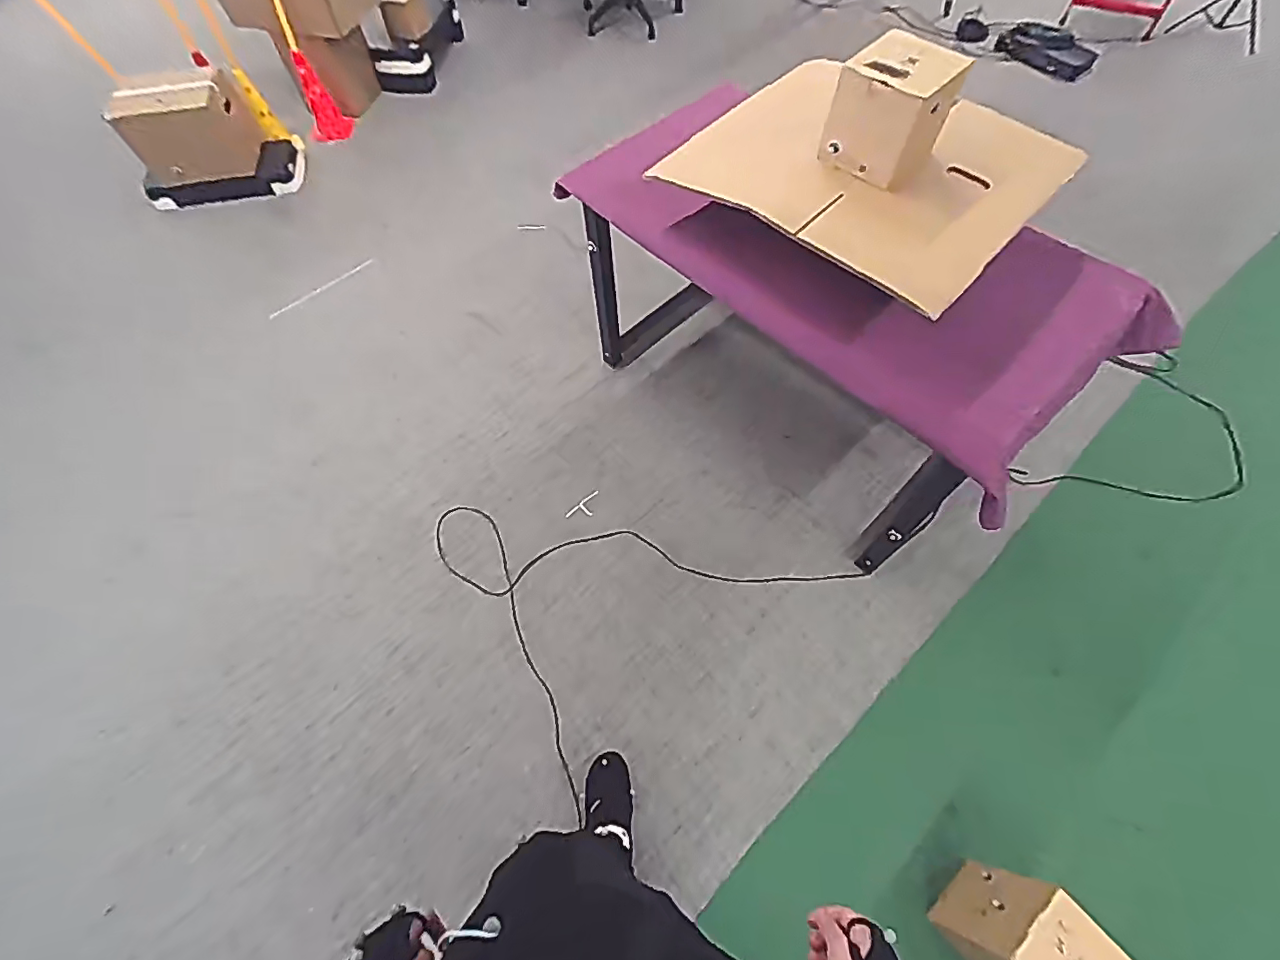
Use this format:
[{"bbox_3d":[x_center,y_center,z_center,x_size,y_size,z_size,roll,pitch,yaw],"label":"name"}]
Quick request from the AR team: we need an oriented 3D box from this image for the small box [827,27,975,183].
[{"bbox_3d":[0.479,-0.703,1.025,0.168,0.176,0.179,41,70,18],"label":"small box"}]

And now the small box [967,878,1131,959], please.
[{"bbox_3d":[0.760,0.883,0.998,0.168,0.176,0.179,-36,67,-17],"label":"small box"}]
